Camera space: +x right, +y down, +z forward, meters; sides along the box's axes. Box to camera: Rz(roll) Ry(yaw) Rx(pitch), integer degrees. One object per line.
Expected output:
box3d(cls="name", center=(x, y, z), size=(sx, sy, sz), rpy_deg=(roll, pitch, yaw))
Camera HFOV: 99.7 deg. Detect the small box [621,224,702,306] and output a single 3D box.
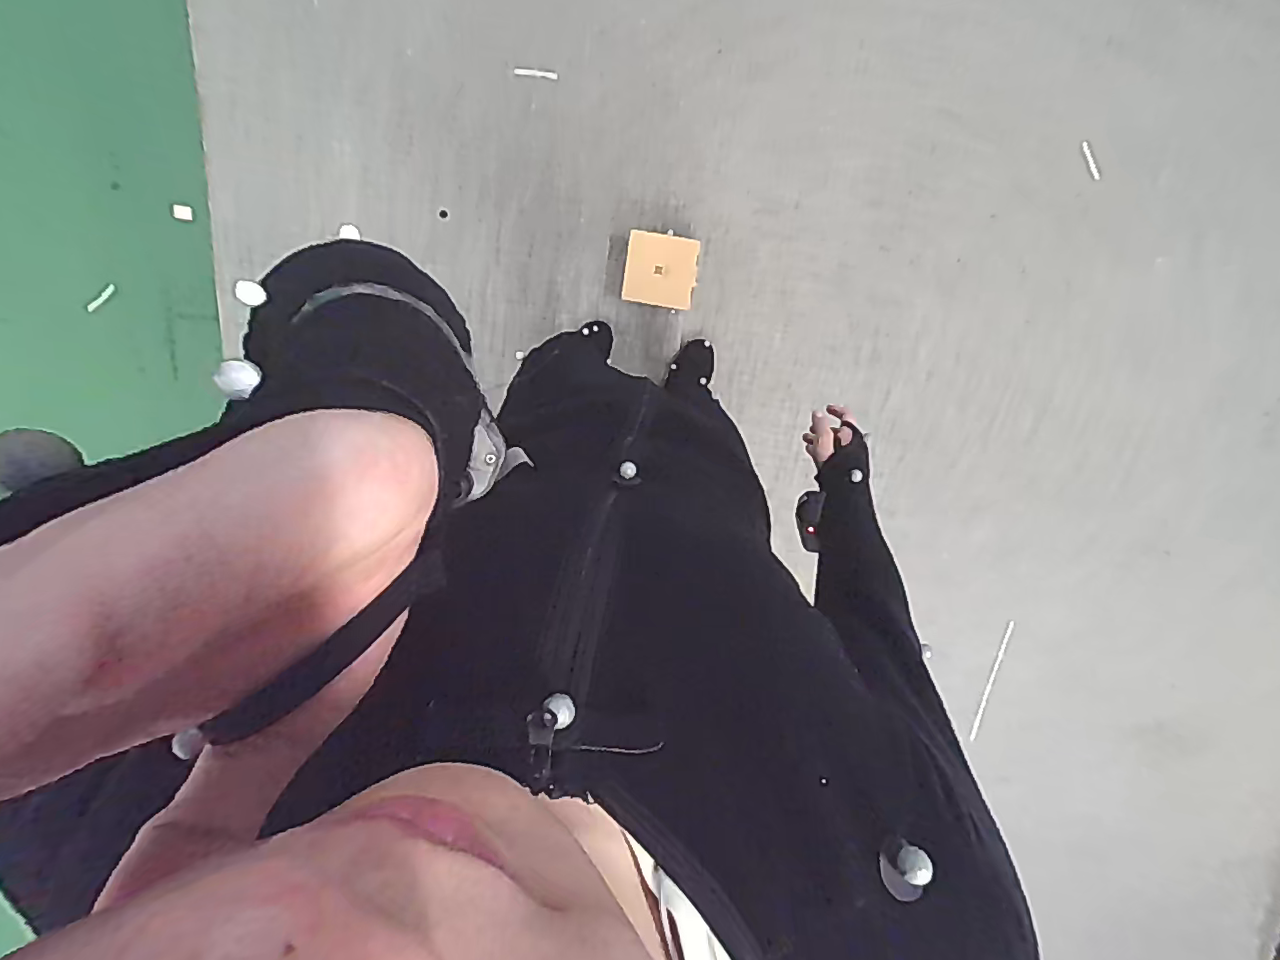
box3d(cls="small box", center=(0.054, -0.543, 1.386), size=(0.179, 0.176, 0.168), rpy_deg=(9, 108, -1))
